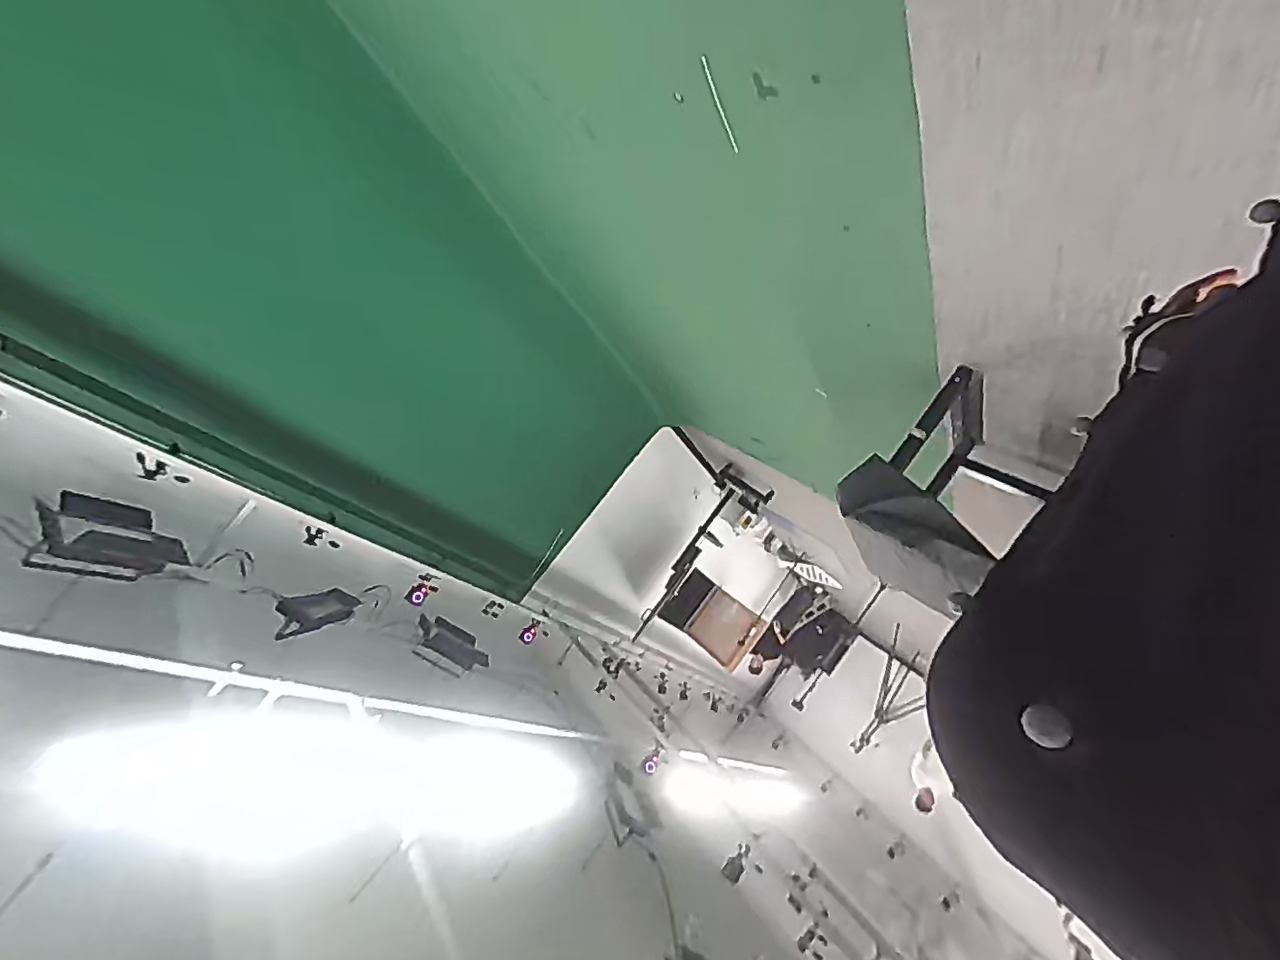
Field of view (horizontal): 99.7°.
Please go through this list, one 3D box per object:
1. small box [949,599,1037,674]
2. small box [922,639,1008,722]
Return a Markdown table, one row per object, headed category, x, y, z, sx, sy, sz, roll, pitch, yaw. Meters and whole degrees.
| category | x | y | z | sx | sy | sz | roll | pitch | yaw |
| --- | --- | --- | --- | --- | --- | --- | --- | --- | --- |
| small box | 1.117 | 0.497 | 1.718 | 0.179 | 0.176 | 0.168 | 33 | 174 | 41 |
| small box | 1.024 | 0.630 | 1.703 | 0.179 | 0.176 | 0.168 | 35 | 176 | 39 |
